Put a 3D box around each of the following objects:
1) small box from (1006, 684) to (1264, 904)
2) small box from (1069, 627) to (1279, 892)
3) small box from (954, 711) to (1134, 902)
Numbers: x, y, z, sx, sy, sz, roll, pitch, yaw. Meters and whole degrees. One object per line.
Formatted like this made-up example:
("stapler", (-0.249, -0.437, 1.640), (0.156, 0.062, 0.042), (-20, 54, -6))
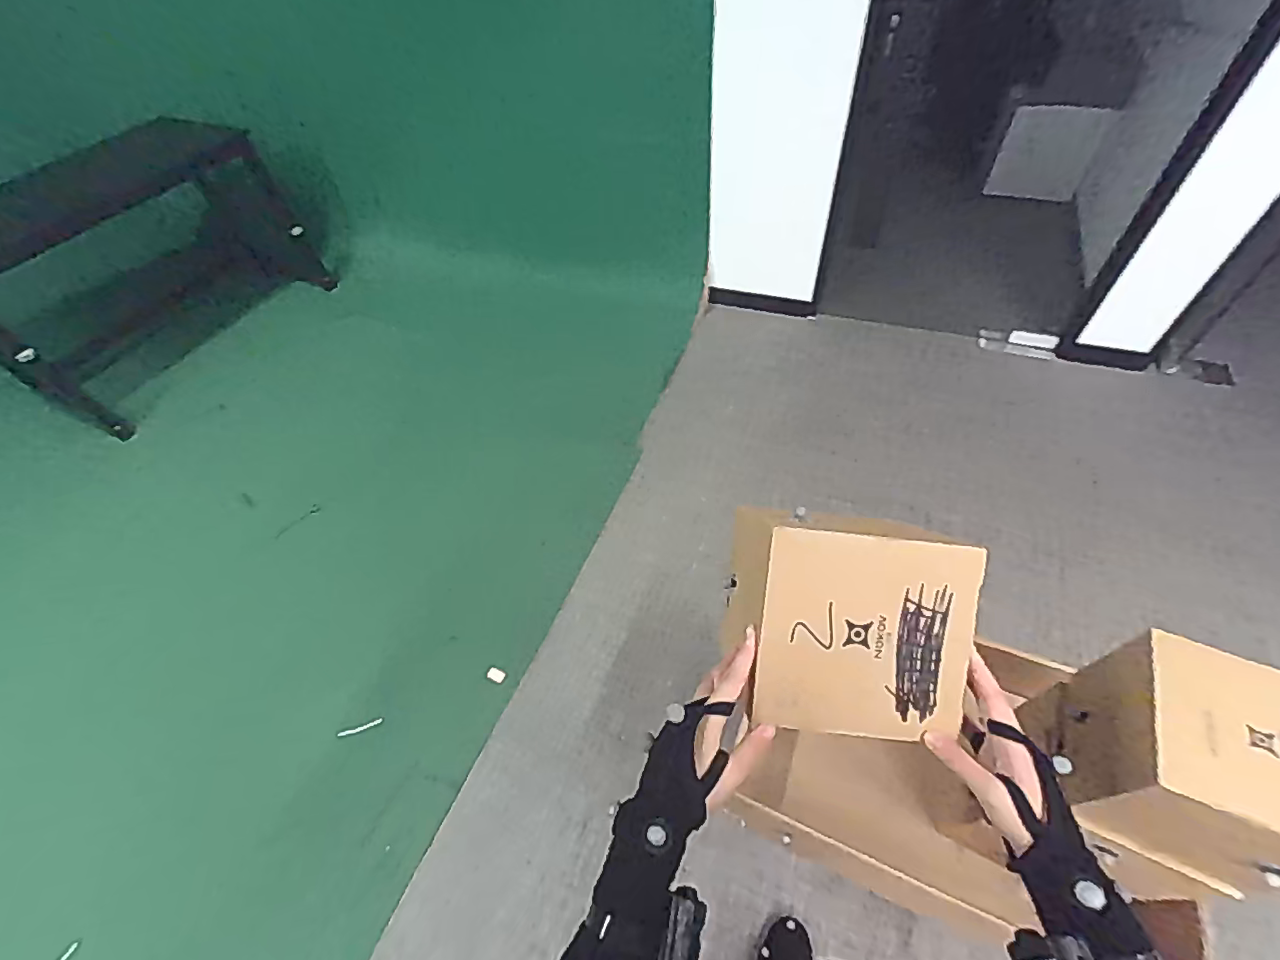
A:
("small box", (0.587, 0.389, 0.669), (0.179, 0.176, 0.168), (20, 57, 20))
("small box", (0.581, 0.283, 0.545), (0.179, 0.176, 0.168), (19, 56, 21))
("small box", (0.591, 0.485, 0.803), (0.168, 0.176, 0.179), (21, 57, 21))
